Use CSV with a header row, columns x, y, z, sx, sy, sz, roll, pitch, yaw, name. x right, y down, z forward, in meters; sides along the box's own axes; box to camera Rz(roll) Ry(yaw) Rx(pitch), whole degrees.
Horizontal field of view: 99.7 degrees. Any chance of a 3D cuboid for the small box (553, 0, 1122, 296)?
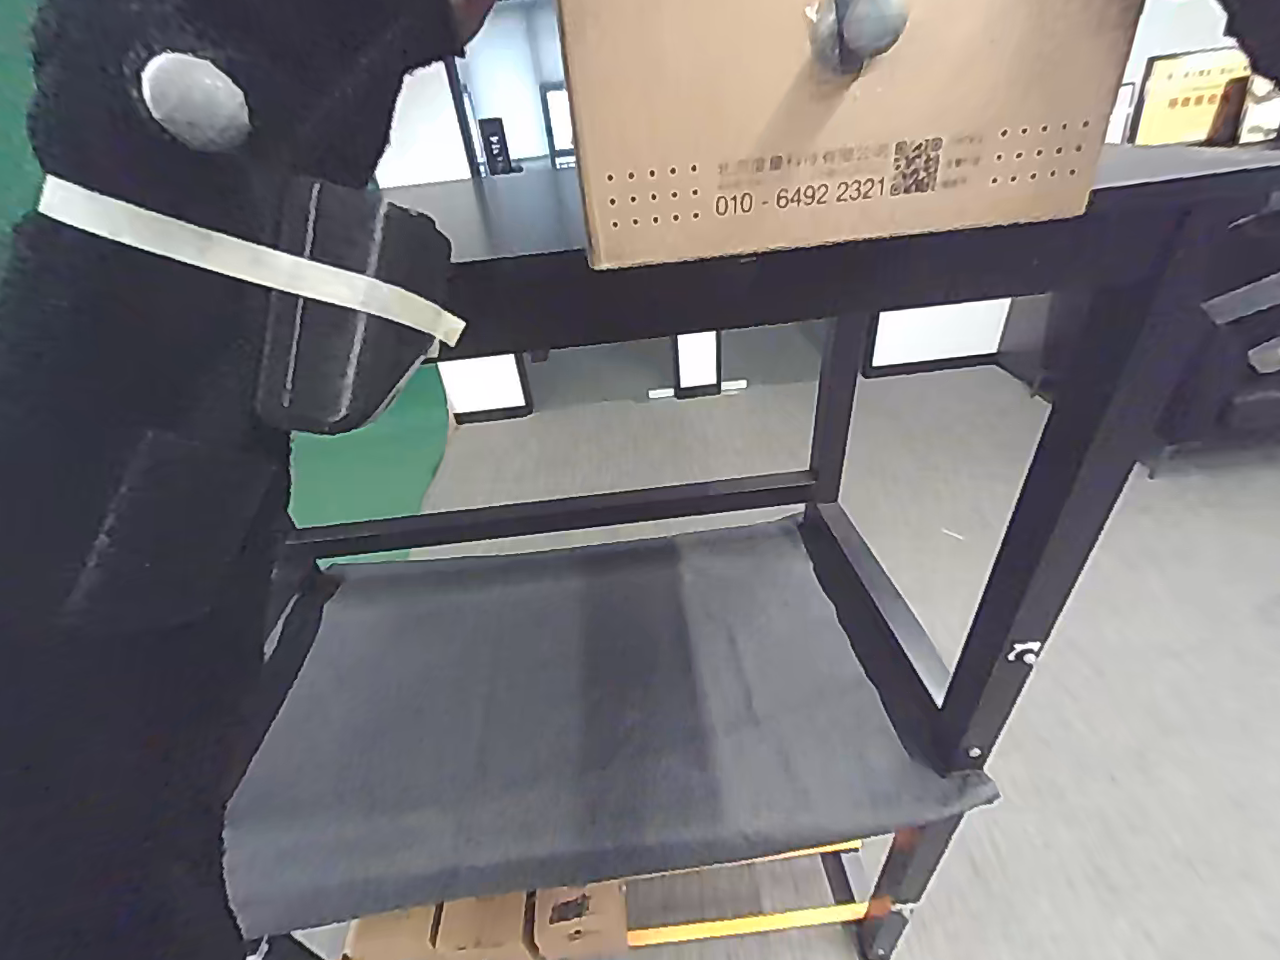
x,y,z,sx,sy,sz,roll,pitch,yaw,name
0.052,-0.180,0.220,0.168,0.176,0.179,-7,31,-1,small box
